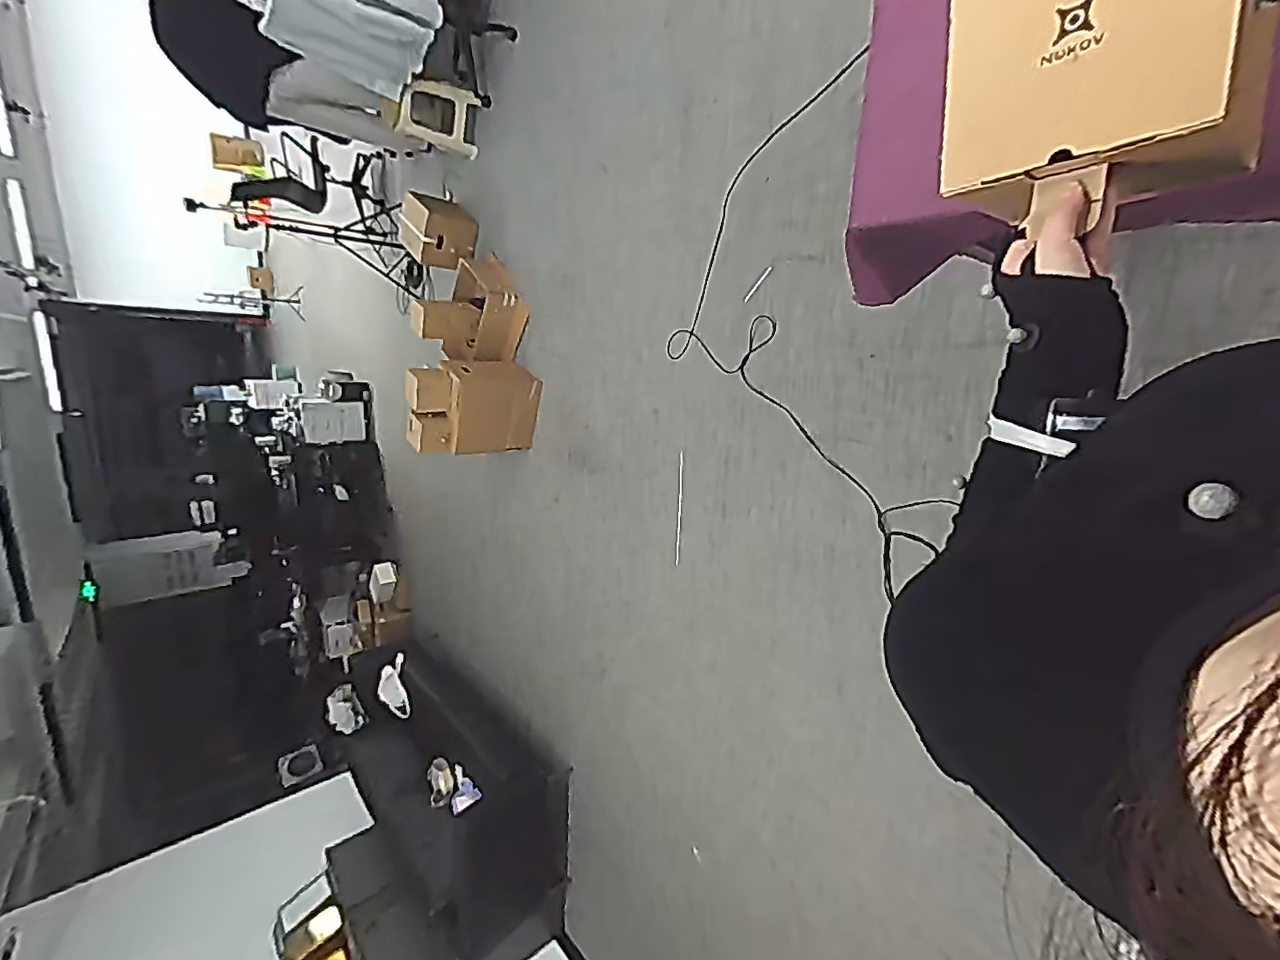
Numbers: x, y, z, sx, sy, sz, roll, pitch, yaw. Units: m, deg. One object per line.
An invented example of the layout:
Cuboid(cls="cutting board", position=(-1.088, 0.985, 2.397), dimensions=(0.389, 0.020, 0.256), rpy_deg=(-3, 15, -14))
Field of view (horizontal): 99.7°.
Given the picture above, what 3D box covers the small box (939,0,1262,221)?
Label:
Cuboid(cls="small box", position=(0.371, -0.332, 0.440), dimensions=(0.168, 0.176, 0.179), rpy_deg=(11, 108, 50))
